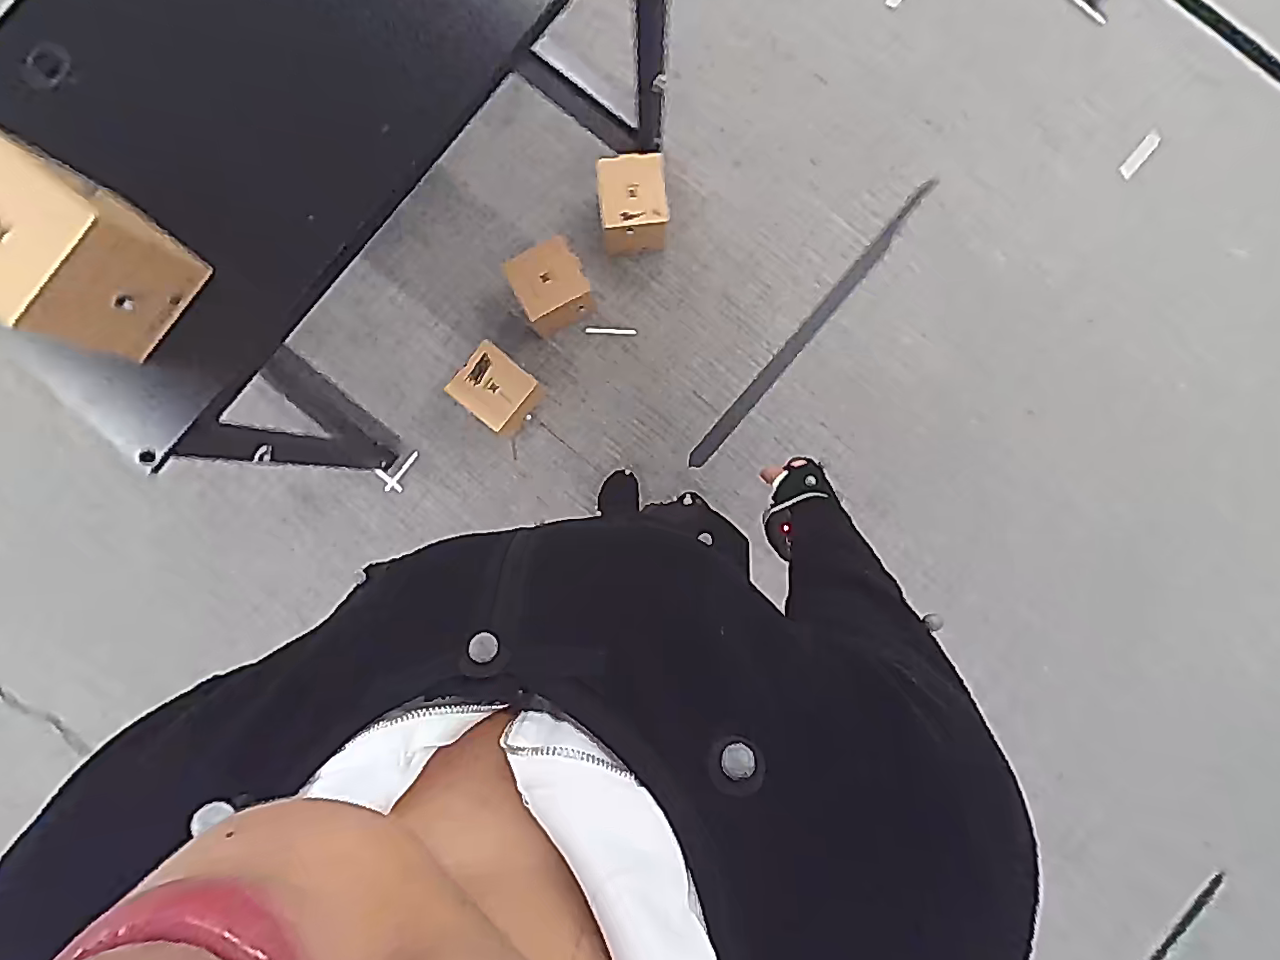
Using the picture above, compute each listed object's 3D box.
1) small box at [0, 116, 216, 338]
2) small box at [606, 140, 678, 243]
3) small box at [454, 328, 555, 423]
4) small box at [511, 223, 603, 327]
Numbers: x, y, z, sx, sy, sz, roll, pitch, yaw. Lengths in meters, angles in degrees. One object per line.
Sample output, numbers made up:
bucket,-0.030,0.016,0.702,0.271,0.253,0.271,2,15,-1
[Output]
small box,-0.717,-0.305,0.700,0.179,0.176,0.168,38,90,1
small box,0.005,-0.746,1.412,0.168,0.176,0.179,-6,91,2
small box,-0.349,-0.264,1.424,0.179,0.176,0.168,40,91,-1
small box,-0.208,-0.531,1.421,0.179,0.176,0.168,-29,89,2
